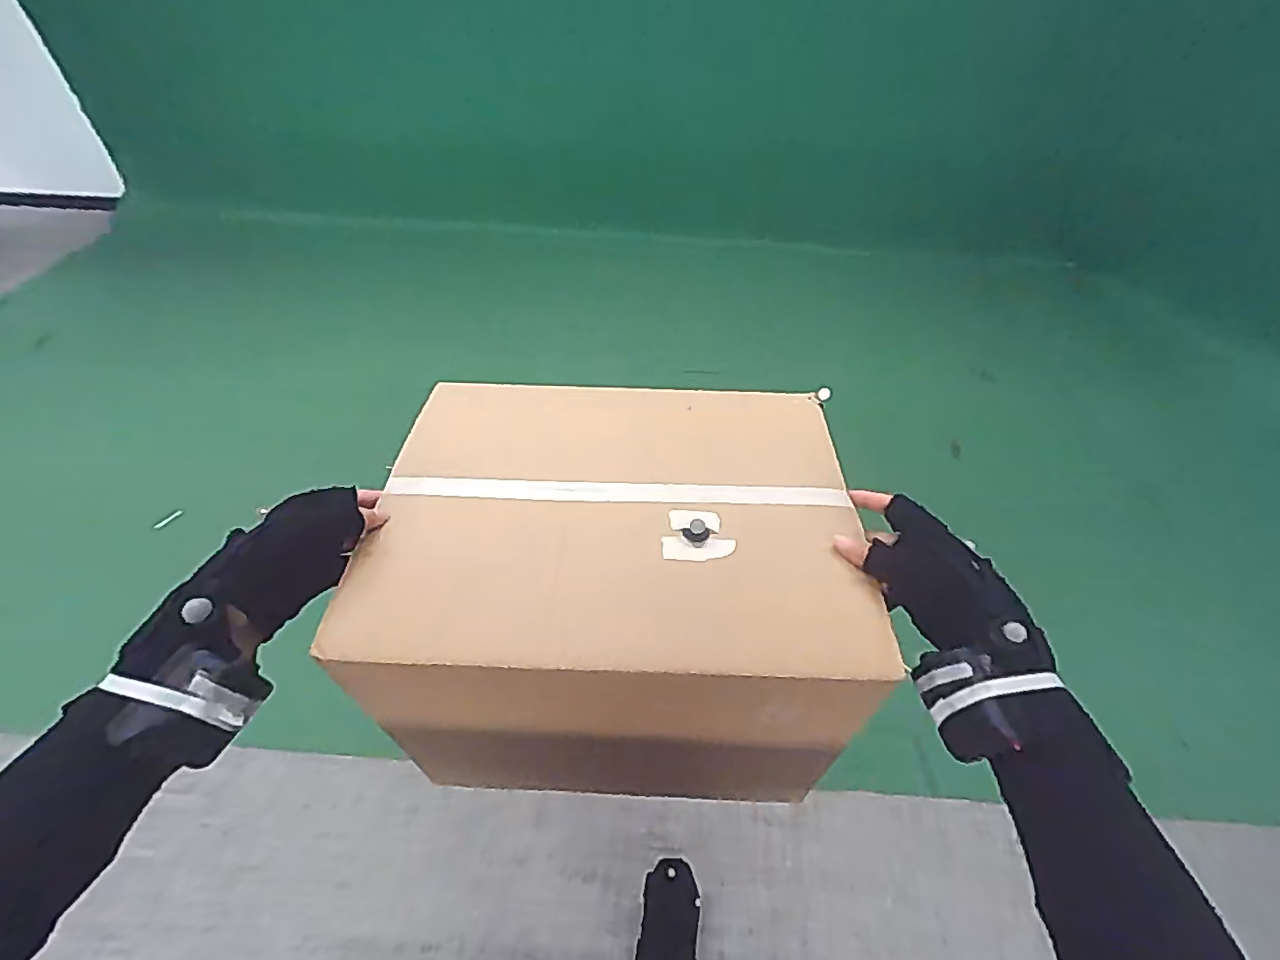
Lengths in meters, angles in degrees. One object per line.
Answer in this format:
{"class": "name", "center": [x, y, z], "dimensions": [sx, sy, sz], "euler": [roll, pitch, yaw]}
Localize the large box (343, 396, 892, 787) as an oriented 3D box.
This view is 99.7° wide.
{"class": "large box", "center": [-0.016, 0.123, 0.593], "dimensions": [0.408, 0.320, 0.320], "euler": [1, 47, 1]}
